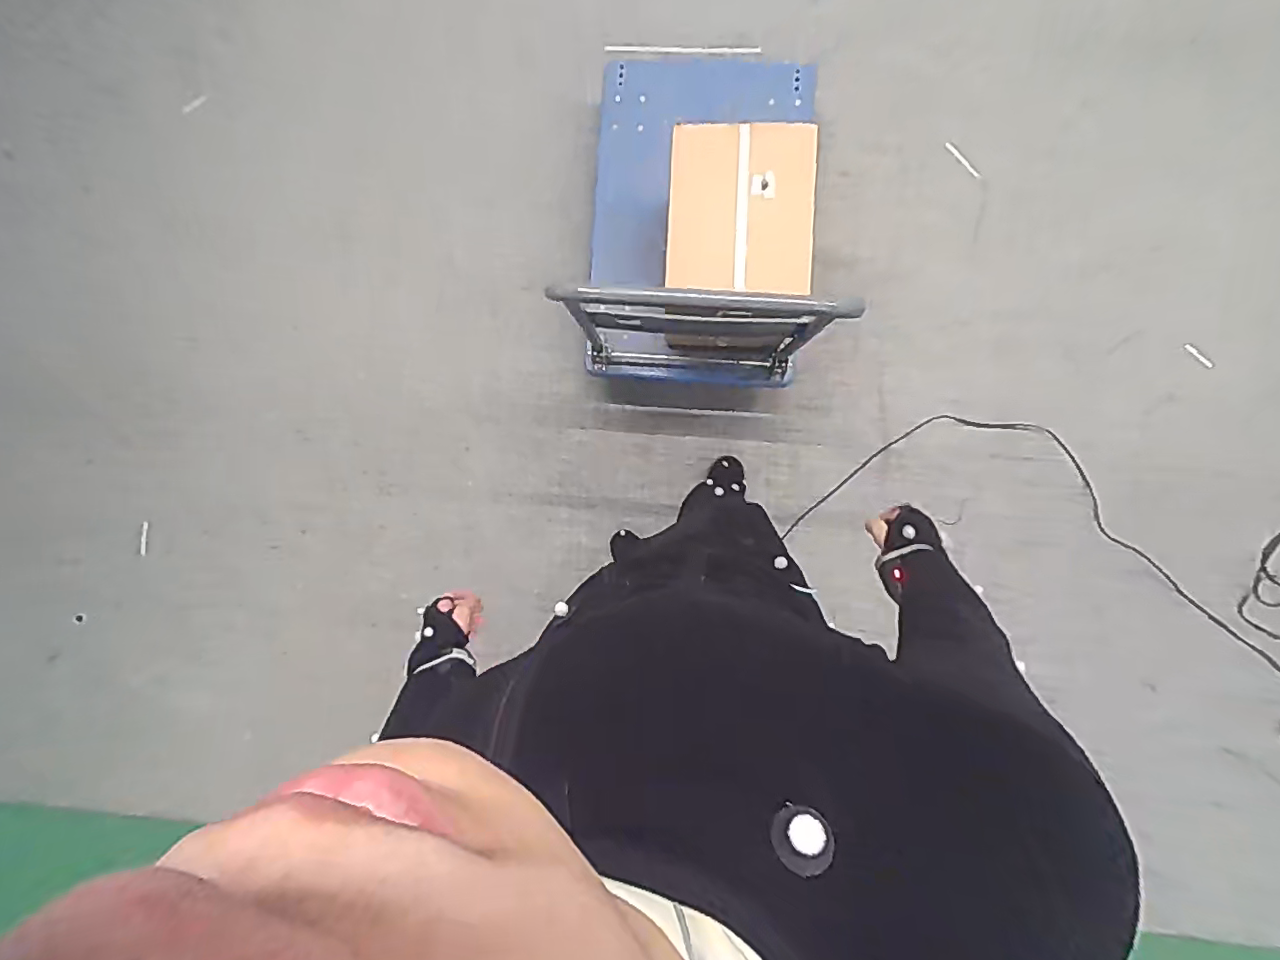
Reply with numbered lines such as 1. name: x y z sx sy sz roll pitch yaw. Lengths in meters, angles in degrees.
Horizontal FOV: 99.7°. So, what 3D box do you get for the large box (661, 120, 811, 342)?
1. large box: 0.215 -0.570 1.307 0.320 0.320 0.408 3 89 2
